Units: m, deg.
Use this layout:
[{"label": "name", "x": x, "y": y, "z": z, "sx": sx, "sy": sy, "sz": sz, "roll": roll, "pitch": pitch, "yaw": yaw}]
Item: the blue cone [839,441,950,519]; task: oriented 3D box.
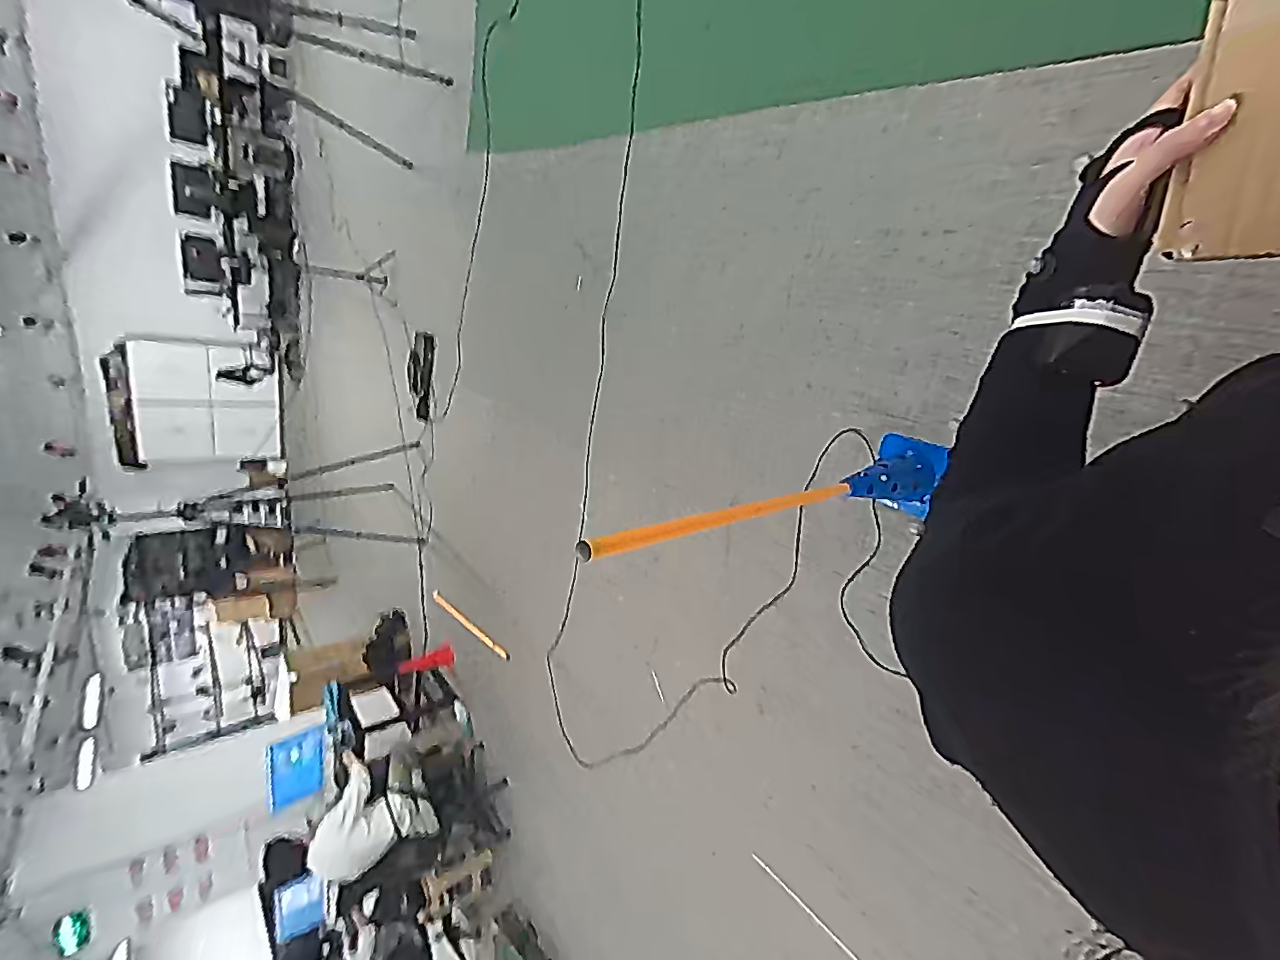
[{"label": "blue cone", "x": 0.607, "y": 0.011, "z": 1.358, "sx": 0.193, "sy": 0.380, "sz": 0.192, "roll": 24, "pitch": 112, "yaw": 43}]
